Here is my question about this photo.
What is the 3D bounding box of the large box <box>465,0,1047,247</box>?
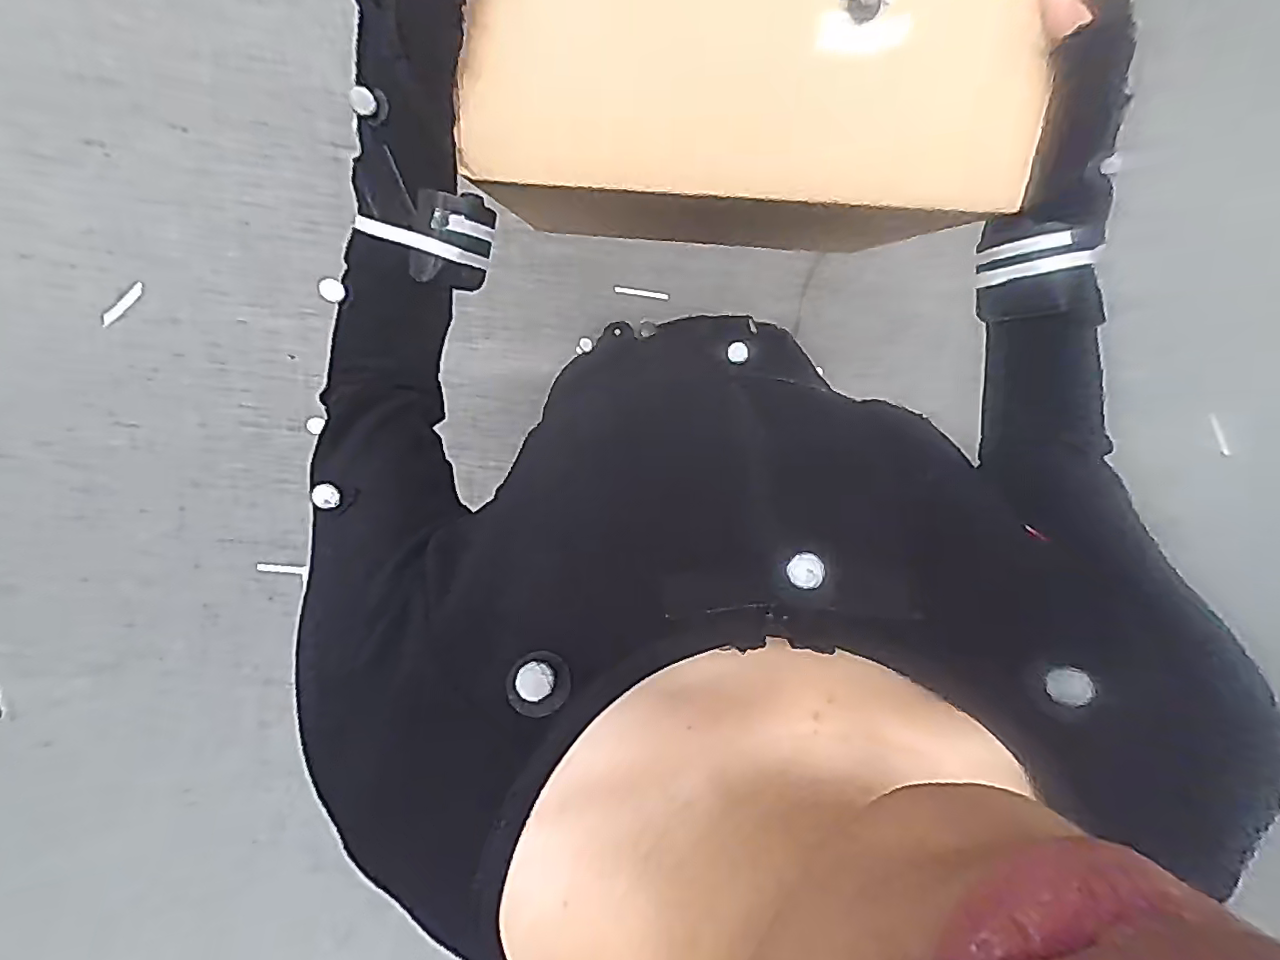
[{"bbox_3d":[0.077,-0.404,0.497,0.408,0.320,0.320,3,108,-2],"label":"large box"}]
